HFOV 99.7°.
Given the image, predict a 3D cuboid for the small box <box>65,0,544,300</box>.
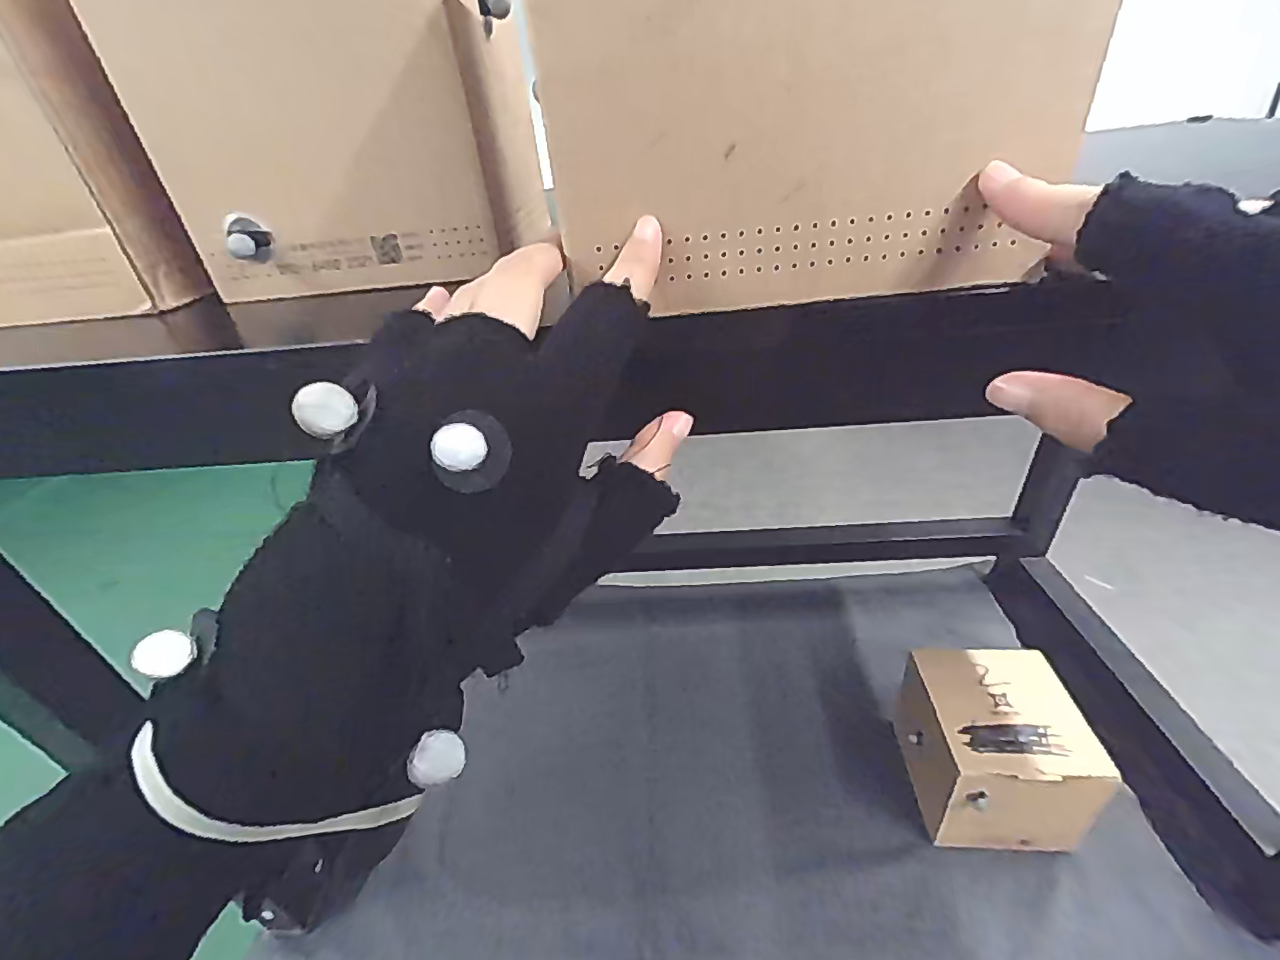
[{"bbox_3d":[-0.163,-0.214,0.332,0.168,0.176,0.179,-4,33,3],"label":"small box"}]
